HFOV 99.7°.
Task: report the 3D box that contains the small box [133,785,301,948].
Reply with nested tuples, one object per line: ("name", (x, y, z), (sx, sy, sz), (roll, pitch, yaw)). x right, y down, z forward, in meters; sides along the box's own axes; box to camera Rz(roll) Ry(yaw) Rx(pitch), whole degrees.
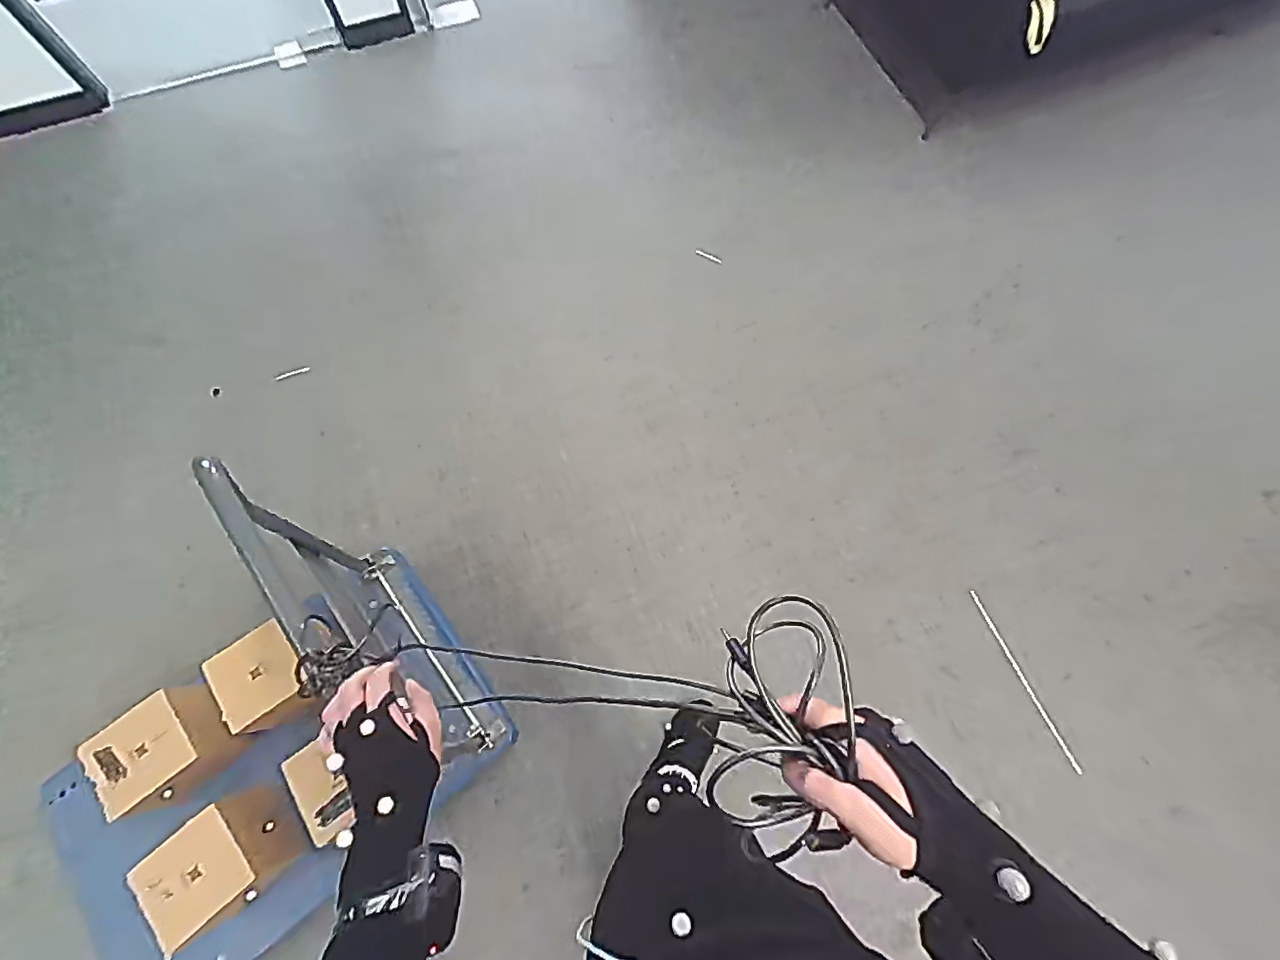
("small box", (-0.808, 0.736, 1.058), (0.179, 0.176, 0.168), (-40, 75, -13))

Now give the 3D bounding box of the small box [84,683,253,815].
("small box", (-0.967, 0.546, 1.124), (0.179, 0.176, 0.168), (-38, 76, -13))

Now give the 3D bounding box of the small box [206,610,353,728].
("small box", (-0.772, 0.409, 1.175), (0.179, 0.176, 0.168), (-35, 74, -12))
